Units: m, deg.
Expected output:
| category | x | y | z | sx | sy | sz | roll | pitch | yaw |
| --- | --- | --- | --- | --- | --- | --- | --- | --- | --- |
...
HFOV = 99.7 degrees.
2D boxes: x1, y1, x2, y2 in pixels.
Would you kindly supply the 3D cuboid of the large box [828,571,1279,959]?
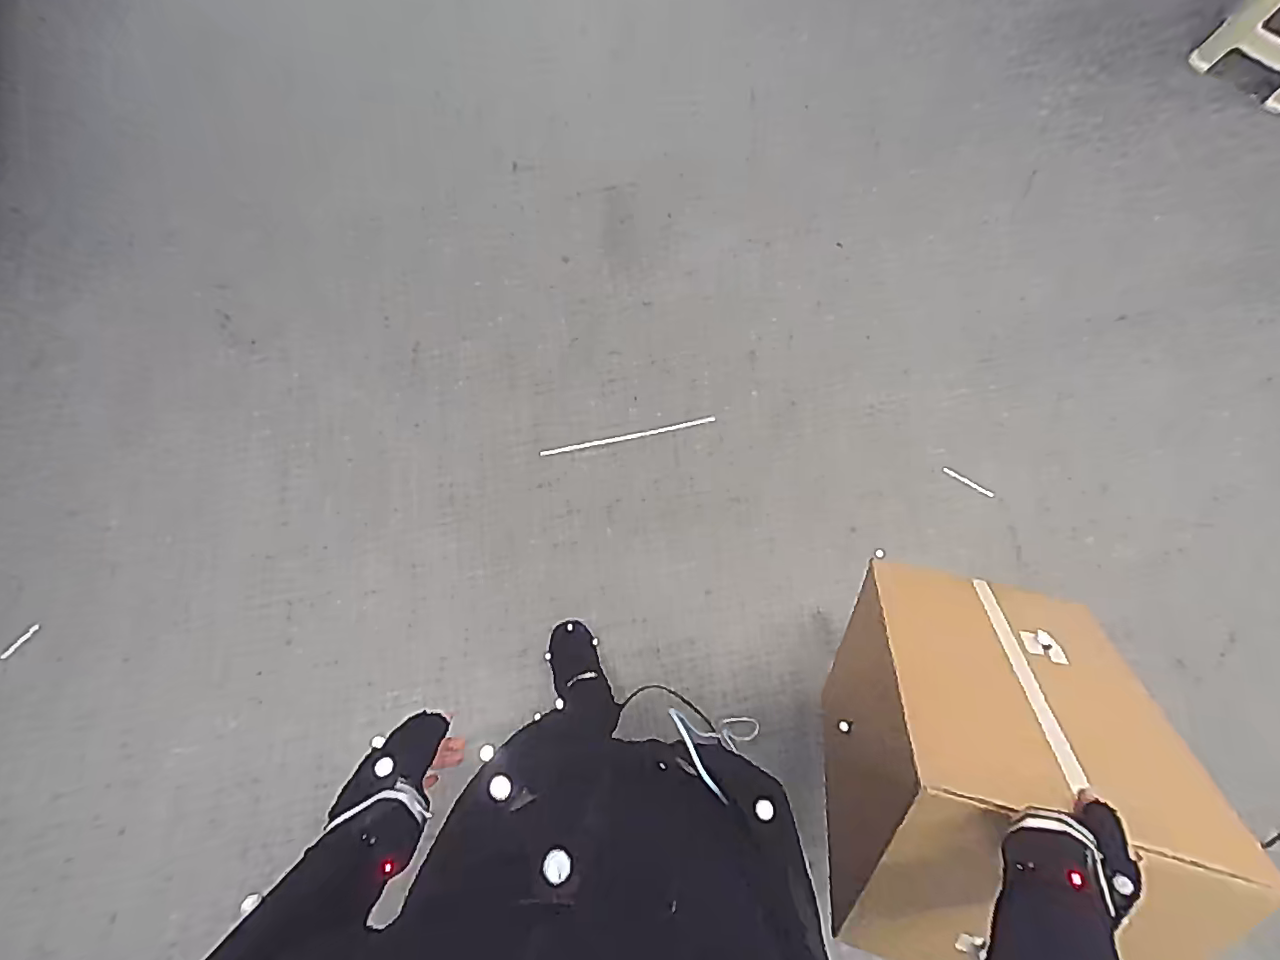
| category | x | y | z | sx | sy | sz | roll | pitch | yaw |
| --- | --- | --- | --- | --- | --- | --- | --- | --- | --- |
| large box | 0.460 | 0.390 | 0.739 | 0.320 | 0.408 | 0.320 | 13 | 117 | 10 |
